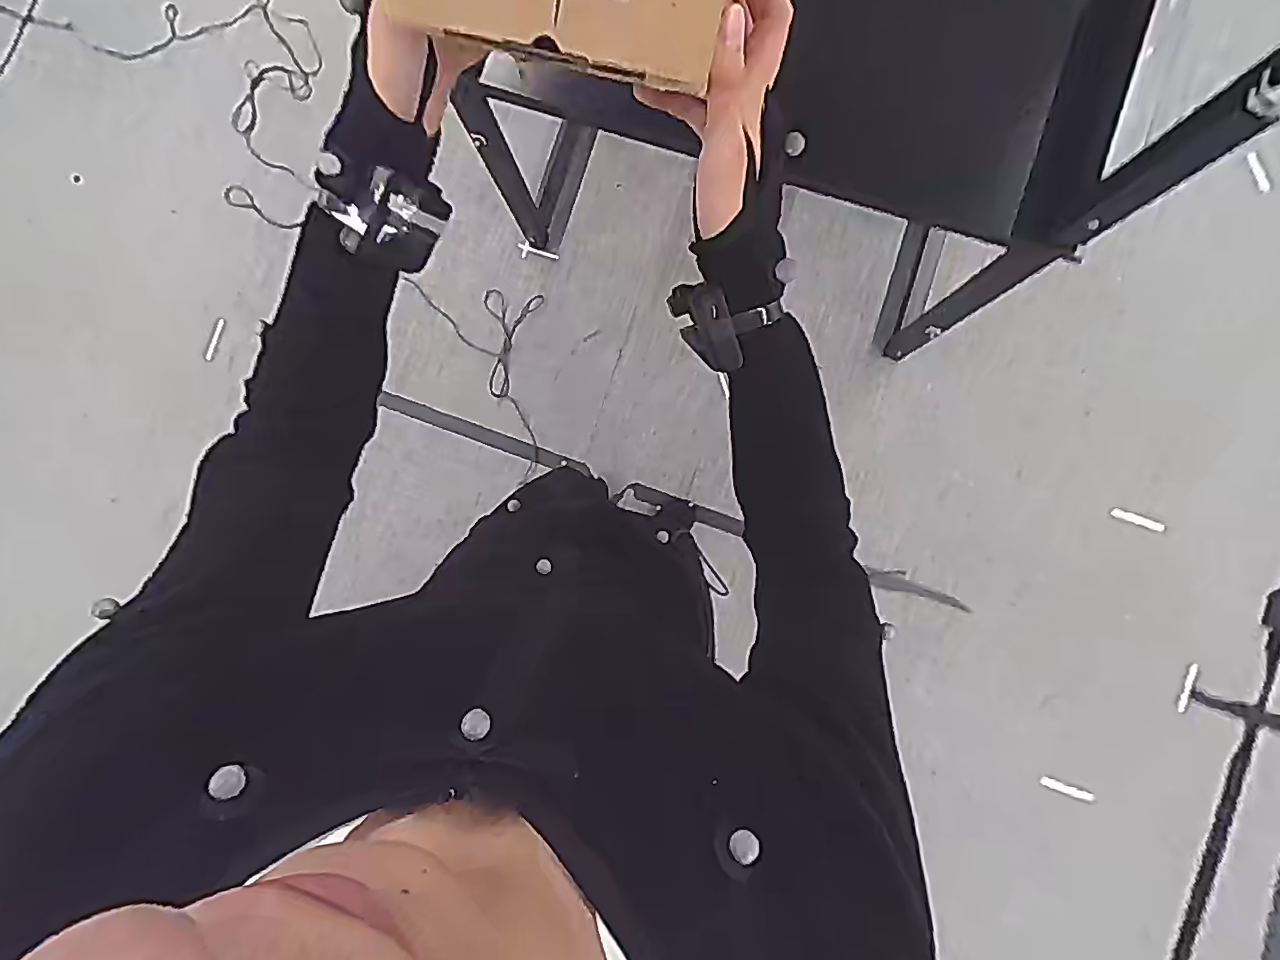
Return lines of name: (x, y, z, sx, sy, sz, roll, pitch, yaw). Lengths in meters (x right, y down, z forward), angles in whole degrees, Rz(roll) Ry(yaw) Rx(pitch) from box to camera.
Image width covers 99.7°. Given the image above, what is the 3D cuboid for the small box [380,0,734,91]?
small box: (-0.022, -0.321, 0.280, 0.168, 0.176, 0.179, 13, 125, 0)
